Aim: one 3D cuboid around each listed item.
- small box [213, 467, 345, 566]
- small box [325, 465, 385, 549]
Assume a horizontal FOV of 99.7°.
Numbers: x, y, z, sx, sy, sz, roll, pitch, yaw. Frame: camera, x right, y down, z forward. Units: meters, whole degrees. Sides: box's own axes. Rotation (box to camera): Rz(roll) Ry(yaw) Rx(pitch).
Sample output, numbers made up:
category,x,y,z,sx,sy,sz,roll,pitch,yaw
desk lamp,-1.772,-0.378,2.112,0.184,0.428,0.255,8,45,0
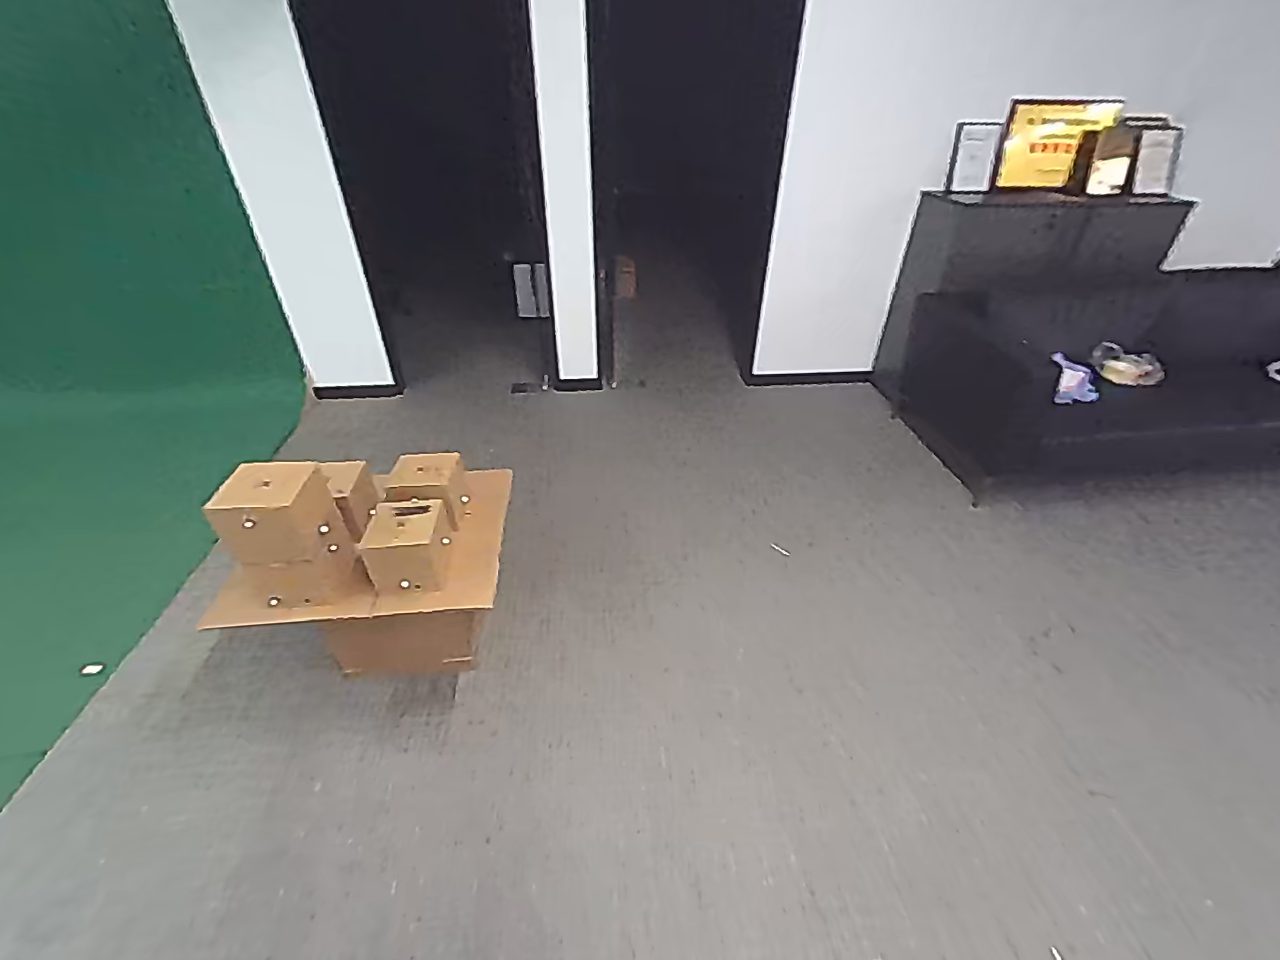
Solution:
category,x,y,z,sx,sy,sz,roll,pitch,yaw
small box,-0.827,0.086,1.260,0.179,0.176,0.168,-2,37,-3
small box,-0.852,0.077,1.548,0.168,0.176,0.179,-5,35,-5
